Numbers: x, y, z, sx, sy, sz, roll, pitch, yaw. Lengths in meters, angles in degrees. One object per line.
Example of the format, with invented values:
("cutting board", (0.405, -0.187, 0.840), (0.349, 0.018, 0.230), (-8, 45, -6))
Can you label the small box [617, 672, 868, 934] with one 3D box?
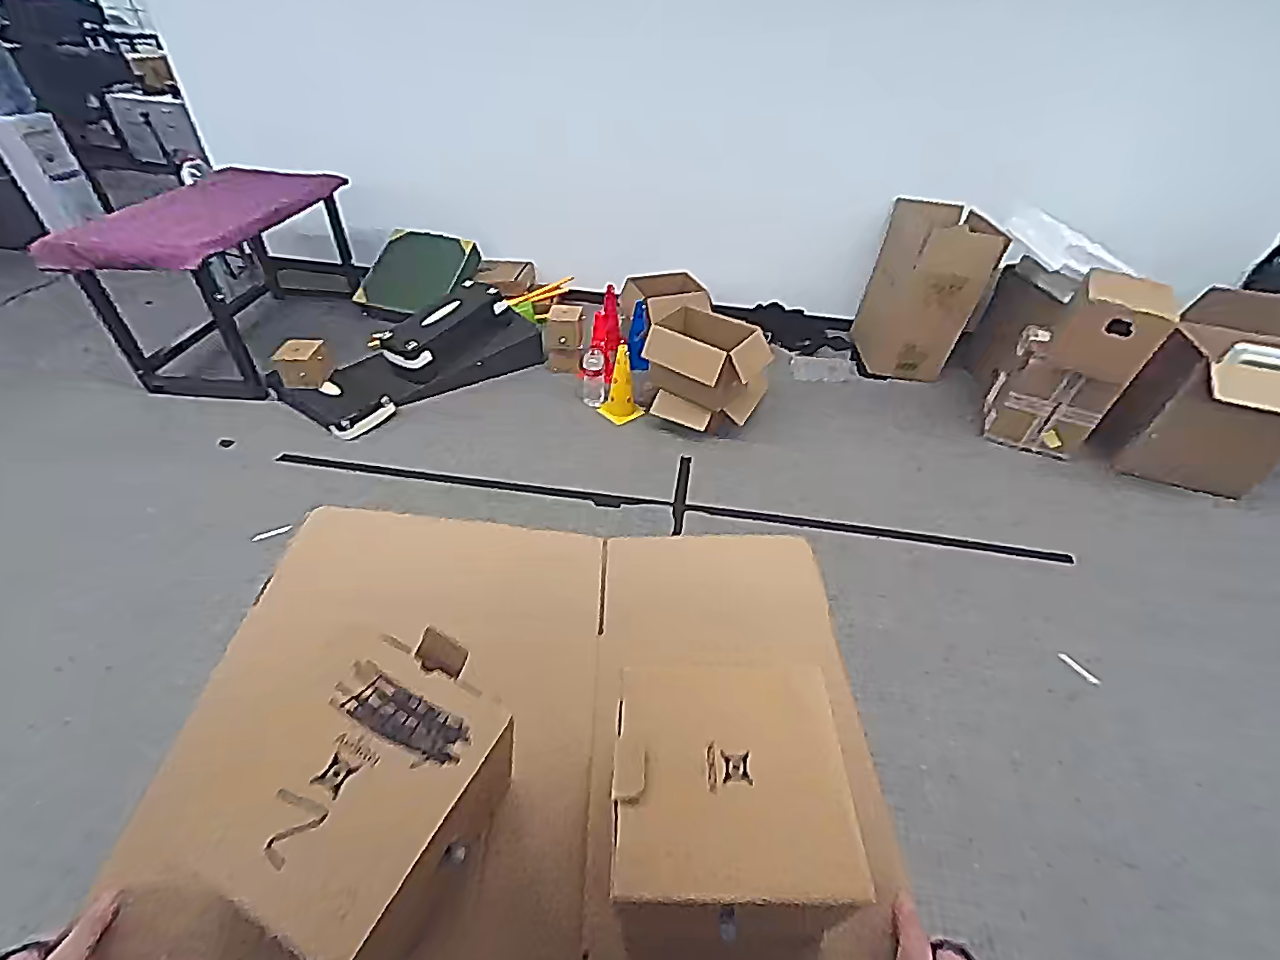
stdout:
("small box", (0.073, 0.287, 0.482), (0.179, 0.176, 0.168), (-1, 44, 1))
